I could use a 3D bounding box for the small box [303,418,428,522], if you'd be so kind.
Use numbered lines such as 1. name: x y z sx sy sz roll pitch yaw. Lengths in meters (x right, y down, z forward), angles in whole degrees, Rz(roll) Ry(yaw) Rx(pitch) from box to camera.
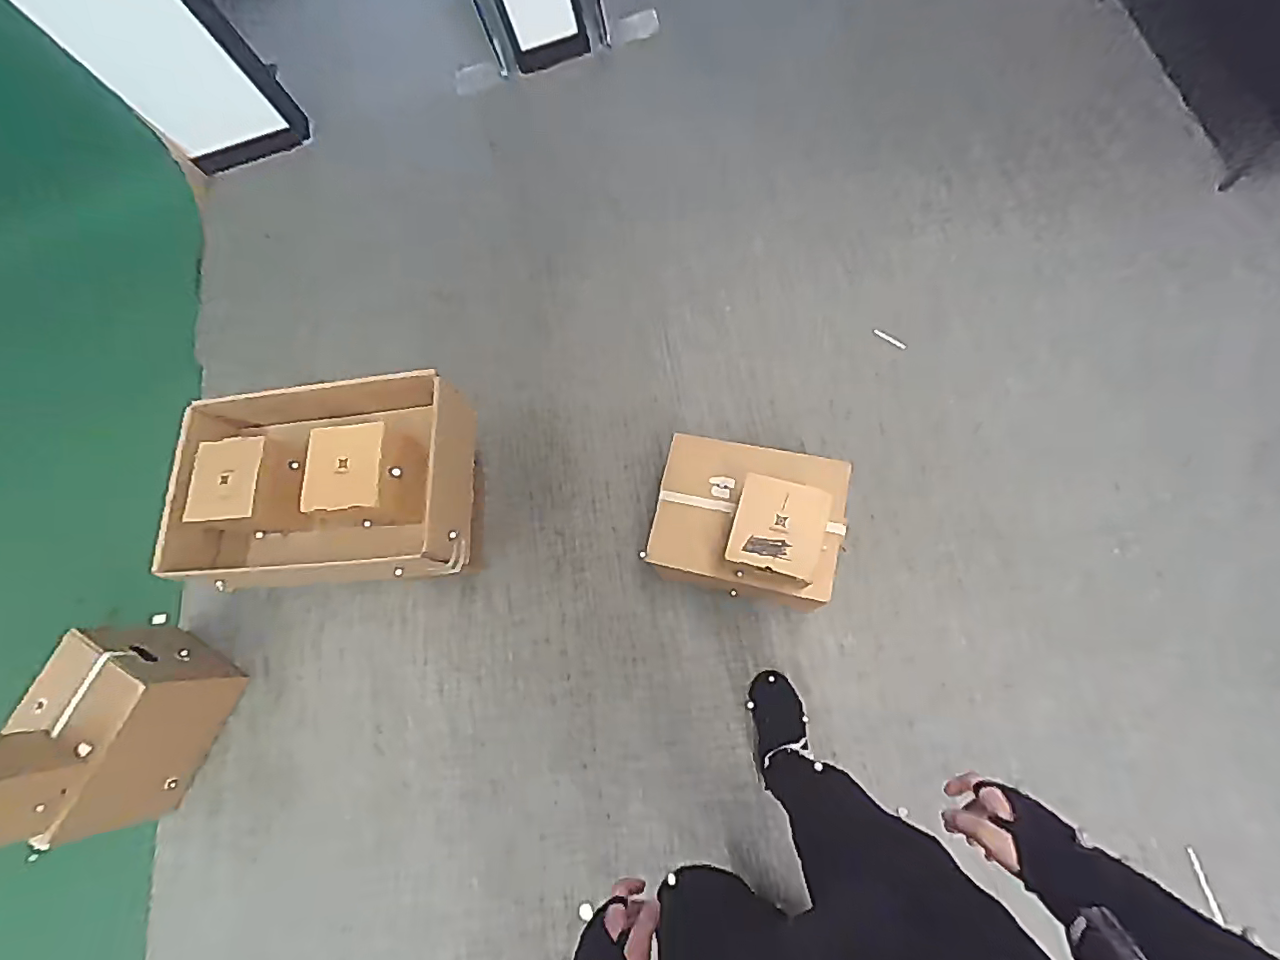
1. small box: -0.566 -0.015 1.140 0.168 0.176 0.179 -4 74 9

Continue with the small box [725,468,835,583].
1. small box: 0.273 0.098 1.071 0.168 0.176 0.179 15 78 14

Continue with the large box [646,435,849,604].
1. large box: 0.264 0.109 1.329 0.408 0.320 0.320 11 76 14

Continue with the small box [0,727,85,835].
1. small box: -1.417 0.670 1.196 0.179 0.176 0.168 23 79 14
